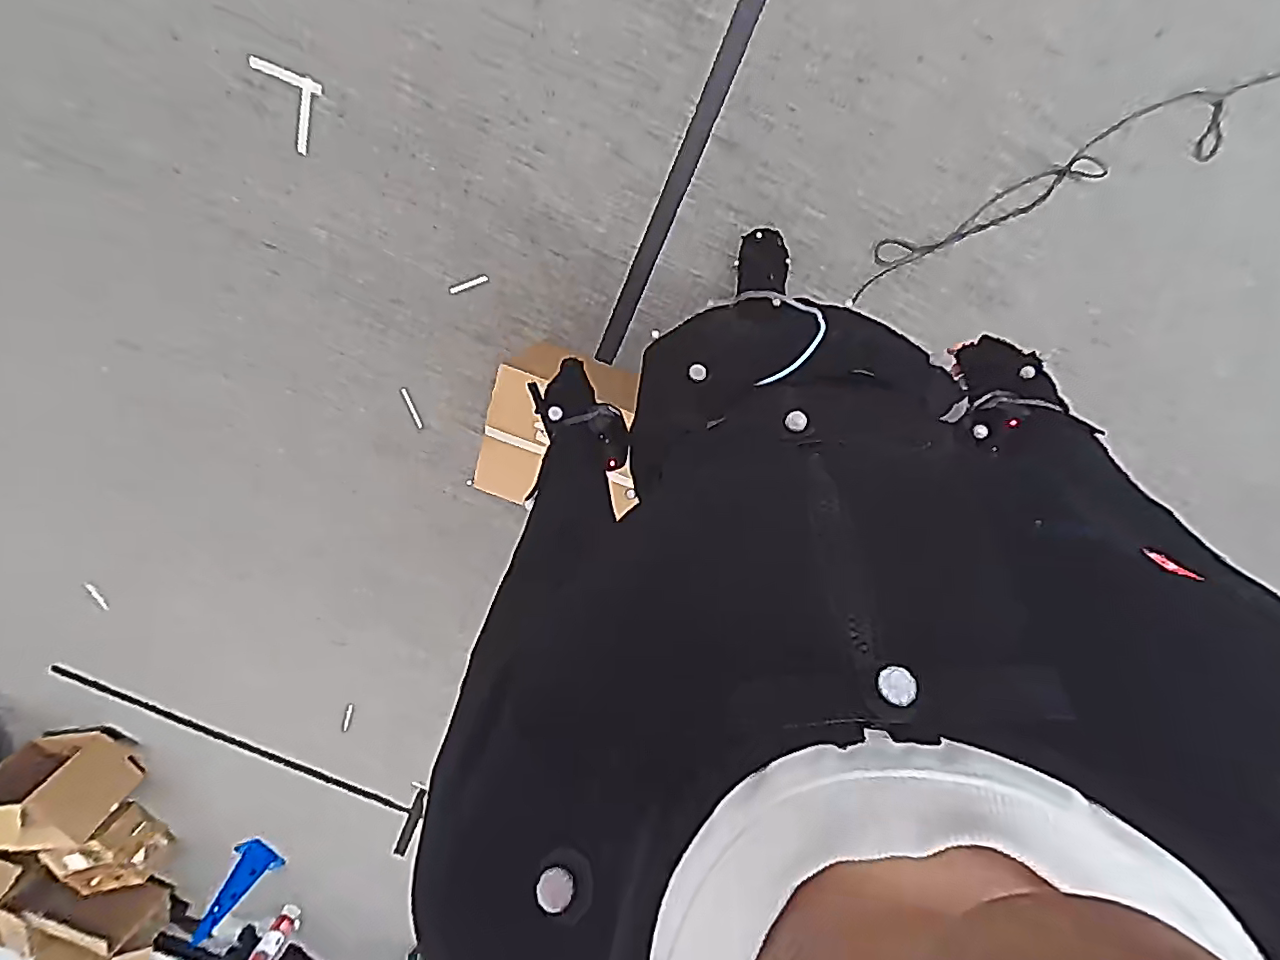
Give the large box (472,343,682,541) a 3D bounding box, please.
[{"bbox_3d":[-0.141,-0.108,1.342,0.408,0.320,0.320,21,114,0],"label":"large box"}]
